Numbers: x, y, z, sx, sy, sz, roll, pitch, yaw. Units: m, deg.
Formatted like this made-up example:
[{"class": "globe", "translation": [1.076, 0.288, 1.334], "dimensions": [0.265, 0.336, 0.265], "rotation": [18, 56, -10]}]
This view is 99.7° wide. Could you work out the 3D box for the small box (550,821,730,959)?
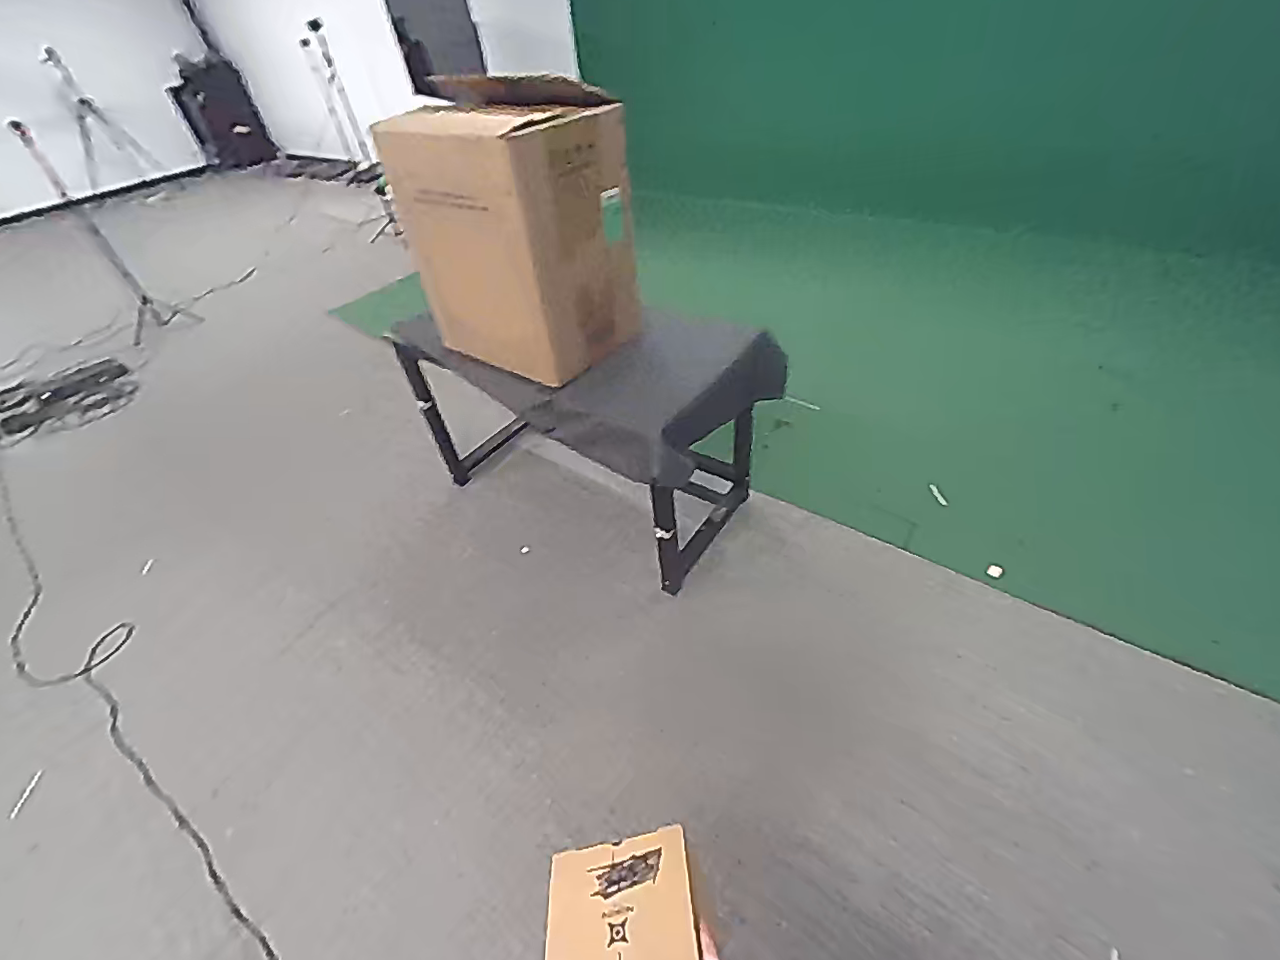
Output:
[{"class": "small box", "translation": [0.006, 0.537, 0.608], "dimensions": [0.168, 0.176, 0.179], "rotation": [-19, 26, 3]}]
